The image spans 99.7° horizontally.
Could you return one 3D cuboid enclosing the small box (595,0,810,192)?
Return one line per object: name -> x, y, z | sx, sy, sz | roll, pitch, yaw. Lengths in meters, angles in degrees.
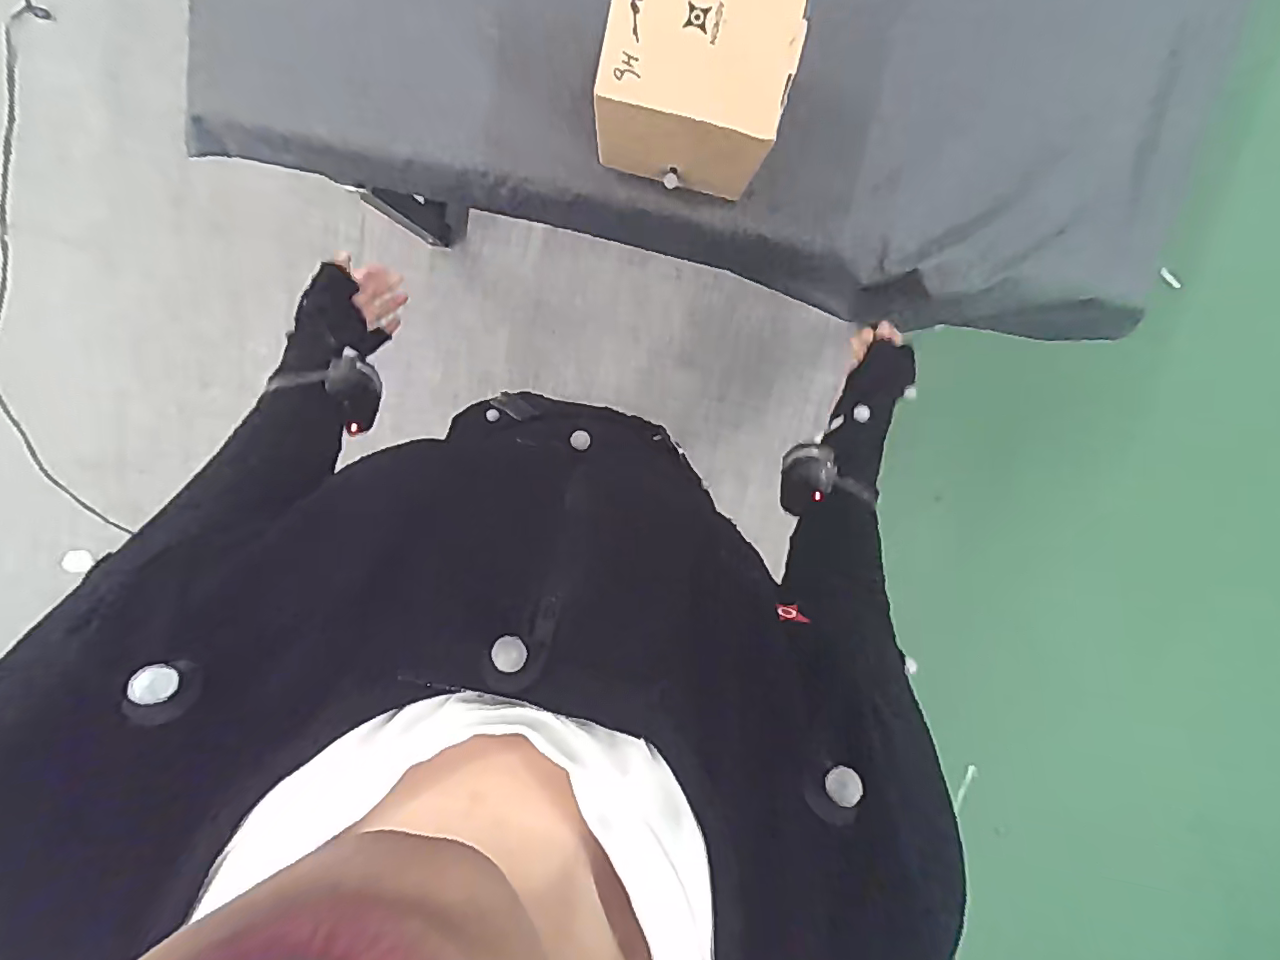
small box -> 0.057, -0.429, 0.570 | 0.179, 0.176, 0.168 | 12, 100, -5
